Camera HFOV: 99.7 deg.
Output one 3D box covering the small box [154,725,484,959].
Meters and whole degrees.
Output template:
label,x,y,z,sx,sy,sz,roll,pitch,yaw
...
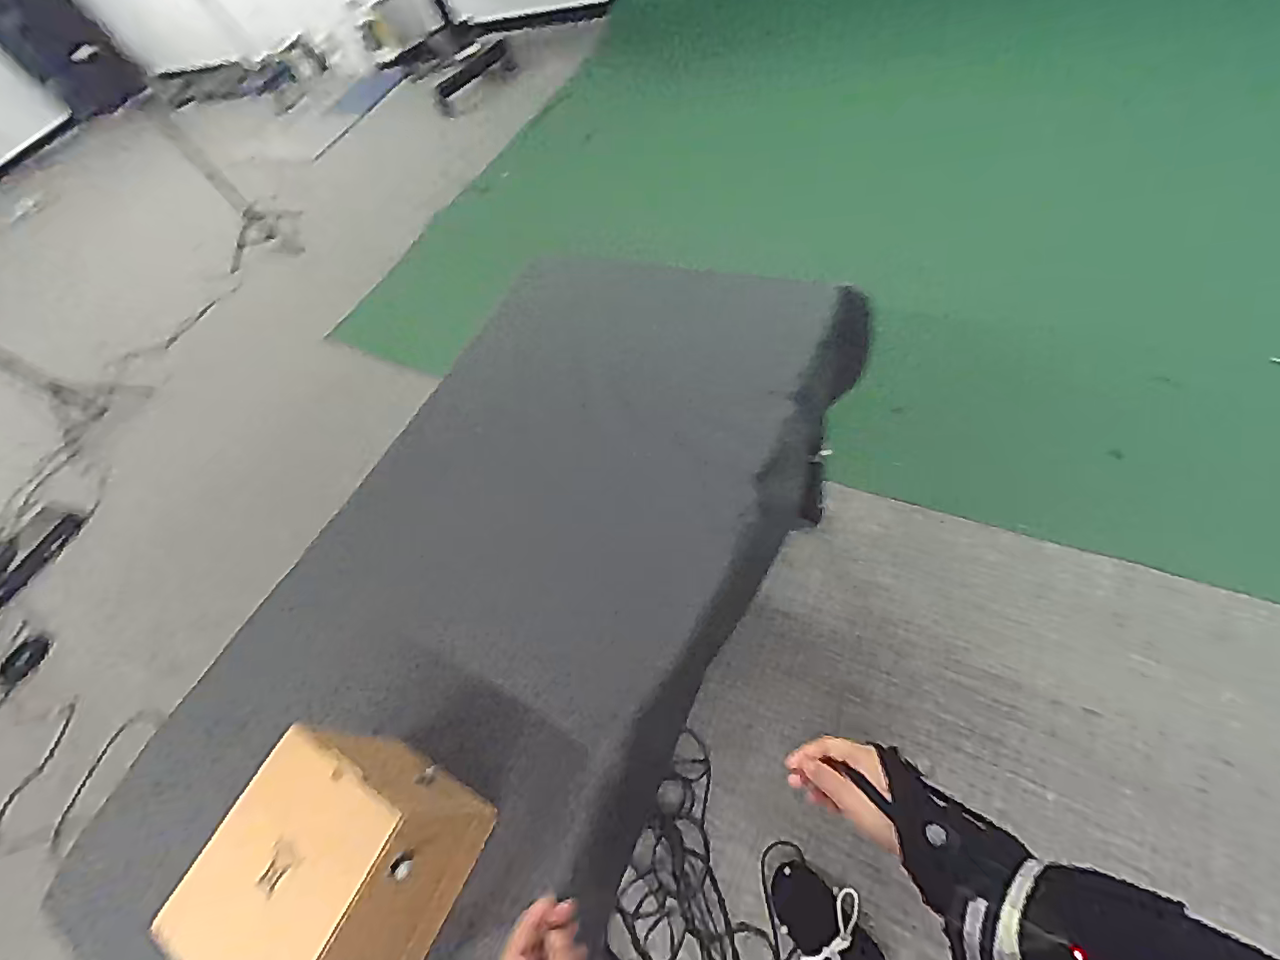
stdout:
label,x,y,z,sx,sy,sz,roll,pitch,yaw
small box,-0.284,0.367,0.517,0.168,0.176,0.179,16,65,26
